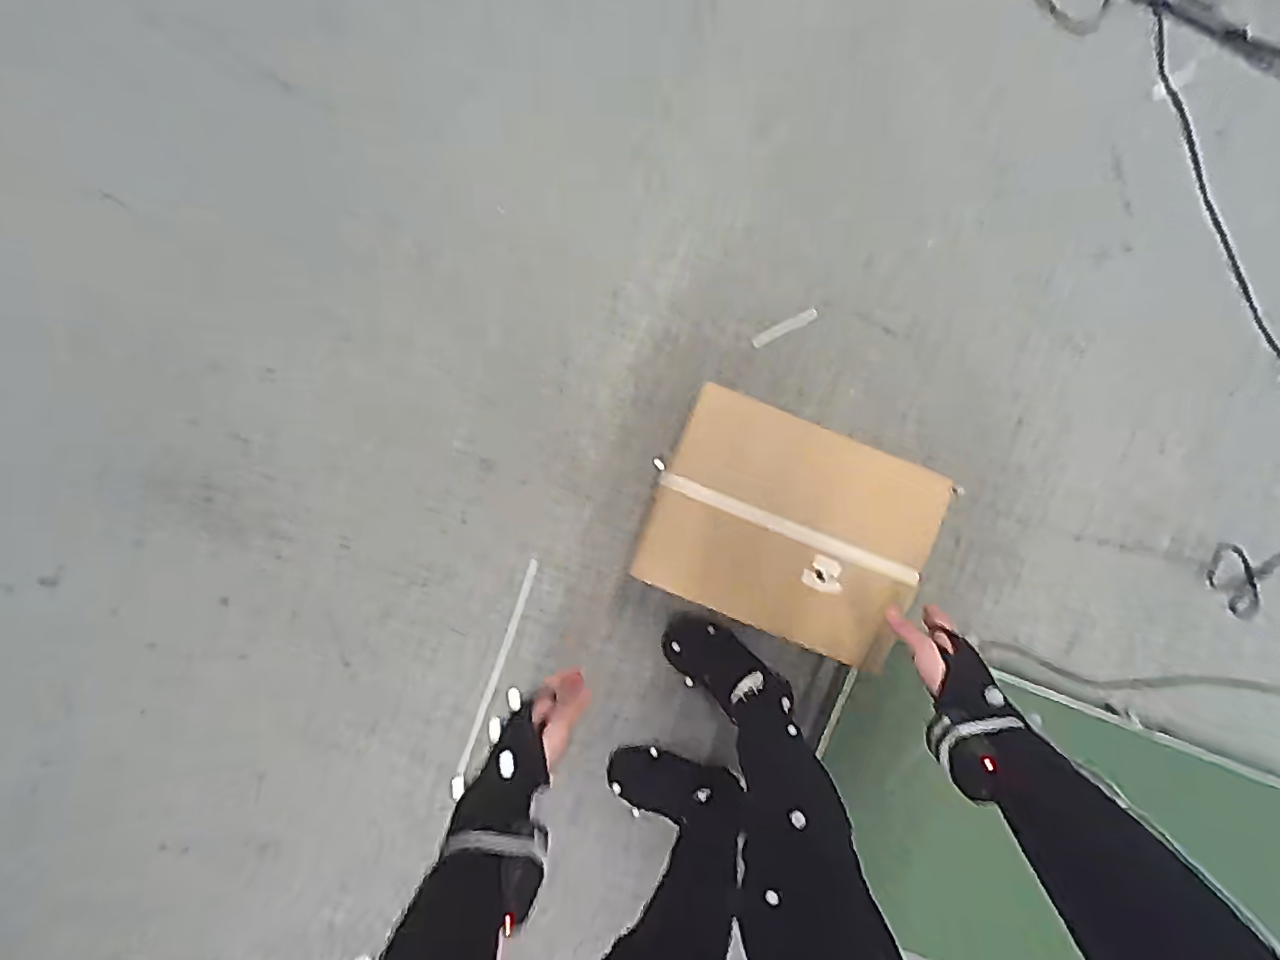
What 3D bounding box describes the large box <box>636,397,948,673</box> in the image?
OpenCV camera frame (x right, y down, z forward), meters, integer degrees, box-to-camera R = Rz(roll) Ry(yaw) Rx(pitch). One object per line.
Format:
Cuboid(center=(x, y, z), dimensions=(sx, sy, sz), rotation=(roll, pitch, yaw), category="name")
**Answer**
Cuboid(center=(0.229, 0.084, 0.965), dimensions=(0.408, 0.320, 0.320), rotation=(22, 90, 0), category="large box")
